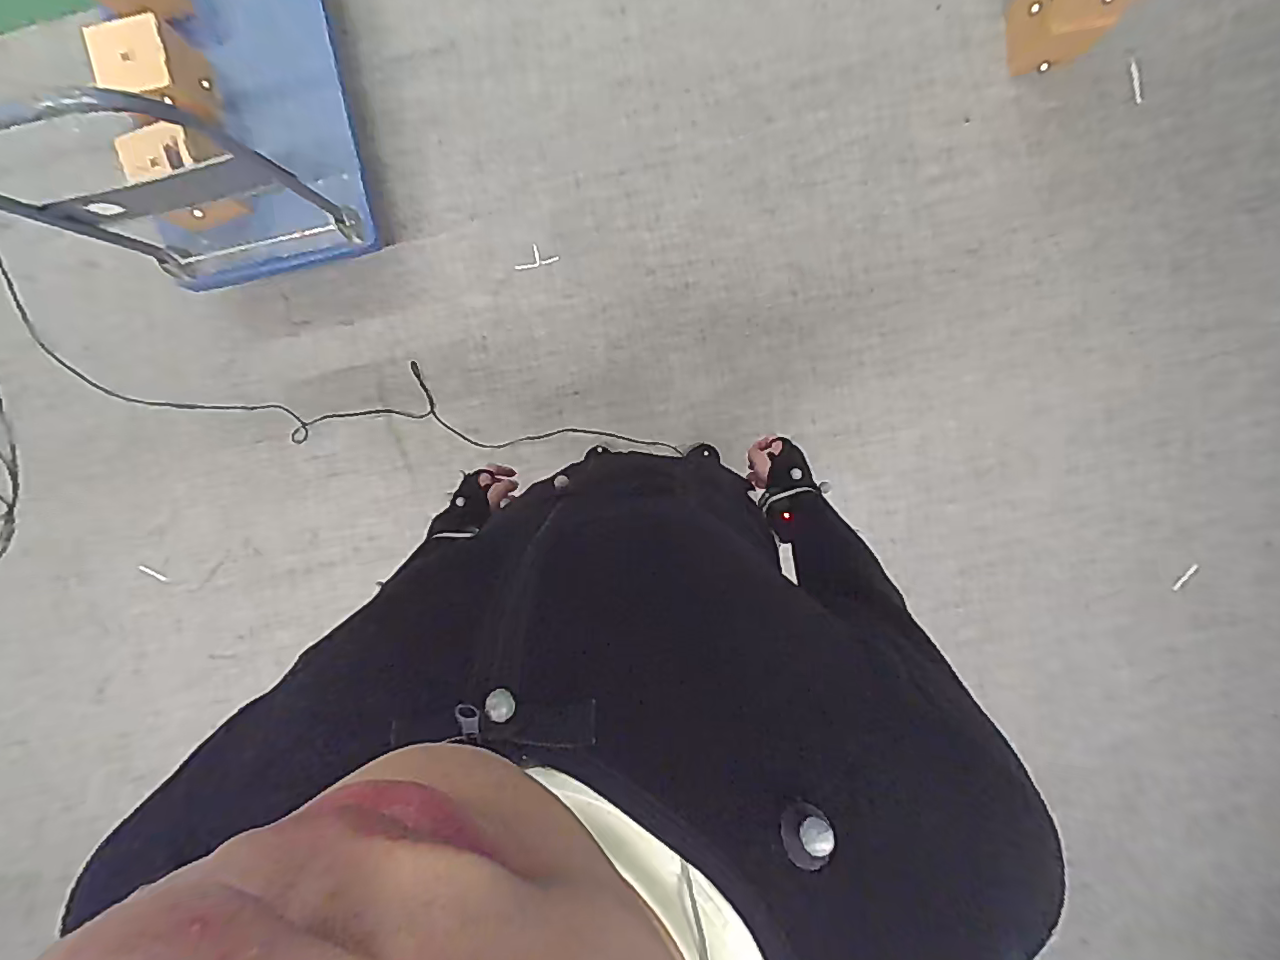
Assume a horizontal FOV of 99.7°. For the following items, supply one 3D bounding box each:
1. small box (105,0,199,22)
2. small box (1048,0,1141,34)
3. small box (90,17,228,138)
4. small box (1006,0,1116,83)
[{"bbox_3d":[-1.242,-1.259,1.318,0.179,0.176,0.168,-12,95,2],"label":"small box"},{"bbox_3d":[1.092,-1.195,1.266,0.179,0.176,0.168,-6,94,4],"label":"small box"},{"bbox_3d":[-1.183,-0.986,1.342,0.179,0.176,0.168,-11,94,1],"label":"small box"},{"bbox_3d":[1.103,-1.202,1.429,0.168,0.176,0.179,-6,94,3],"label":"small box"}]
